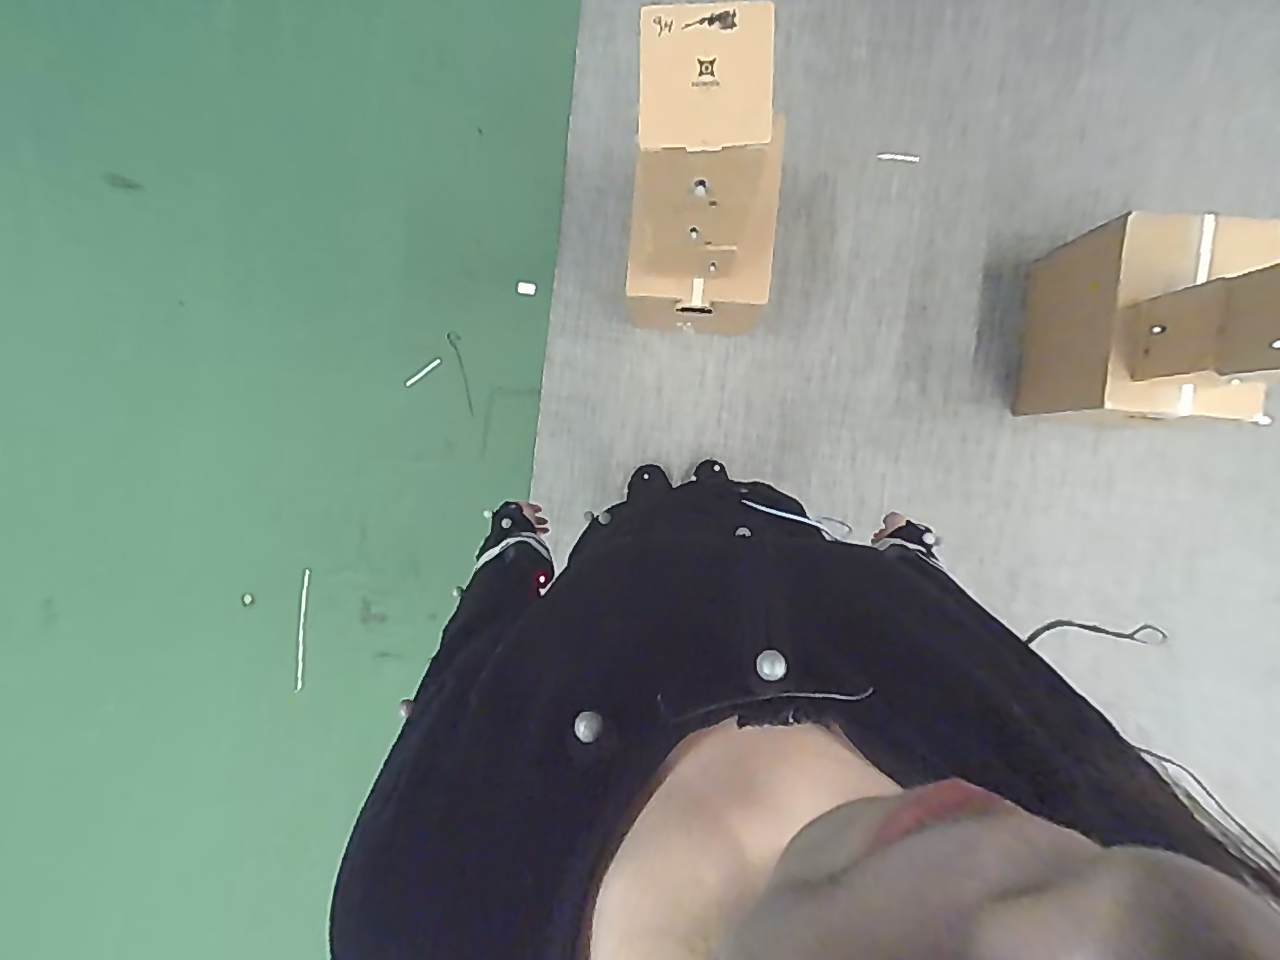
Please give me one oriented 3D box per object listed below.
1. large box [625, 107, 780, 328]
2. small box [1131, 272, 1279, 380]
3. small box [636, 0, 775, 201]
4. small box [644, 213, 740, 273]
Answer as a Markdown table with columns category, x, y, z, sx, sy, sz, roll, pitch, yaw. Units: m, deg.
| category | x | y | z | sx | sy | sz | roll | pitch | yaw |
| --- | --- | --- | --- | --- | --- | --- | --- | --- | --- |
| large box | 0.143 | -0.605 | 1.307 | 0.320 | 0.320 | 0.408 | 5 | 93 | 3 |
| small box | 1.101 | -0.284 | 1.026 | 0.179 | 0.176 | 0.168 | 3 | 94 | 5 |
| small box | 0.085 | -0.504 | 0.742 | 0.168 | 0.176 | 0.179 | 2 | 94 | 3 |
| small box | 0.105 | -0.520 | 1.070 | 0.179 | 0.176 | 0.168 | 4 | 93 | 4 |
